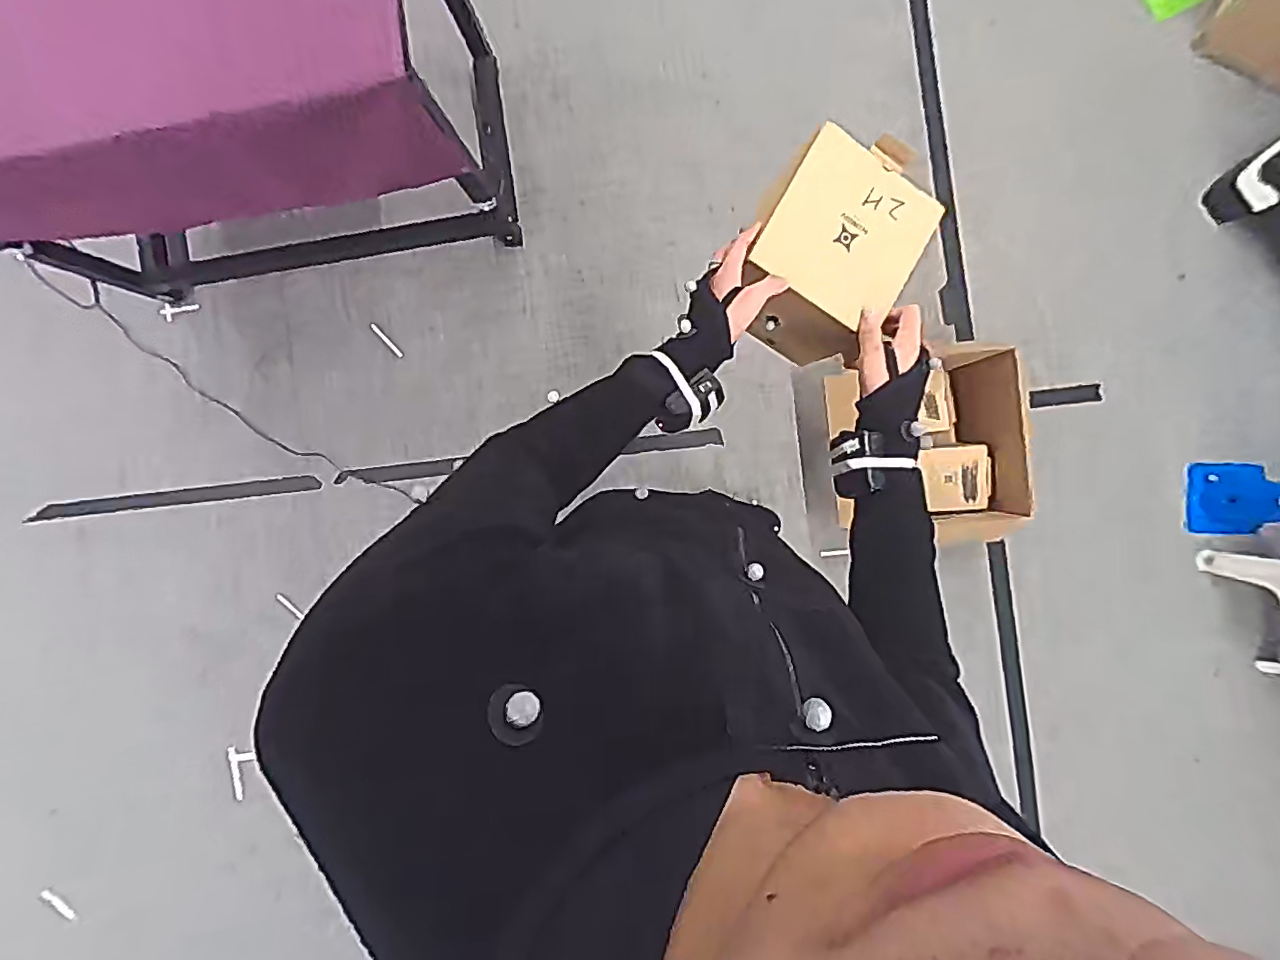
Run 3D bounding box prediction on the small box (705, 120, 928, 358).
[{"bbox_3d":[0.197,-0.271,0.660,0.168,0.176,0.179,30,87,-10],"label":"small box"}]
